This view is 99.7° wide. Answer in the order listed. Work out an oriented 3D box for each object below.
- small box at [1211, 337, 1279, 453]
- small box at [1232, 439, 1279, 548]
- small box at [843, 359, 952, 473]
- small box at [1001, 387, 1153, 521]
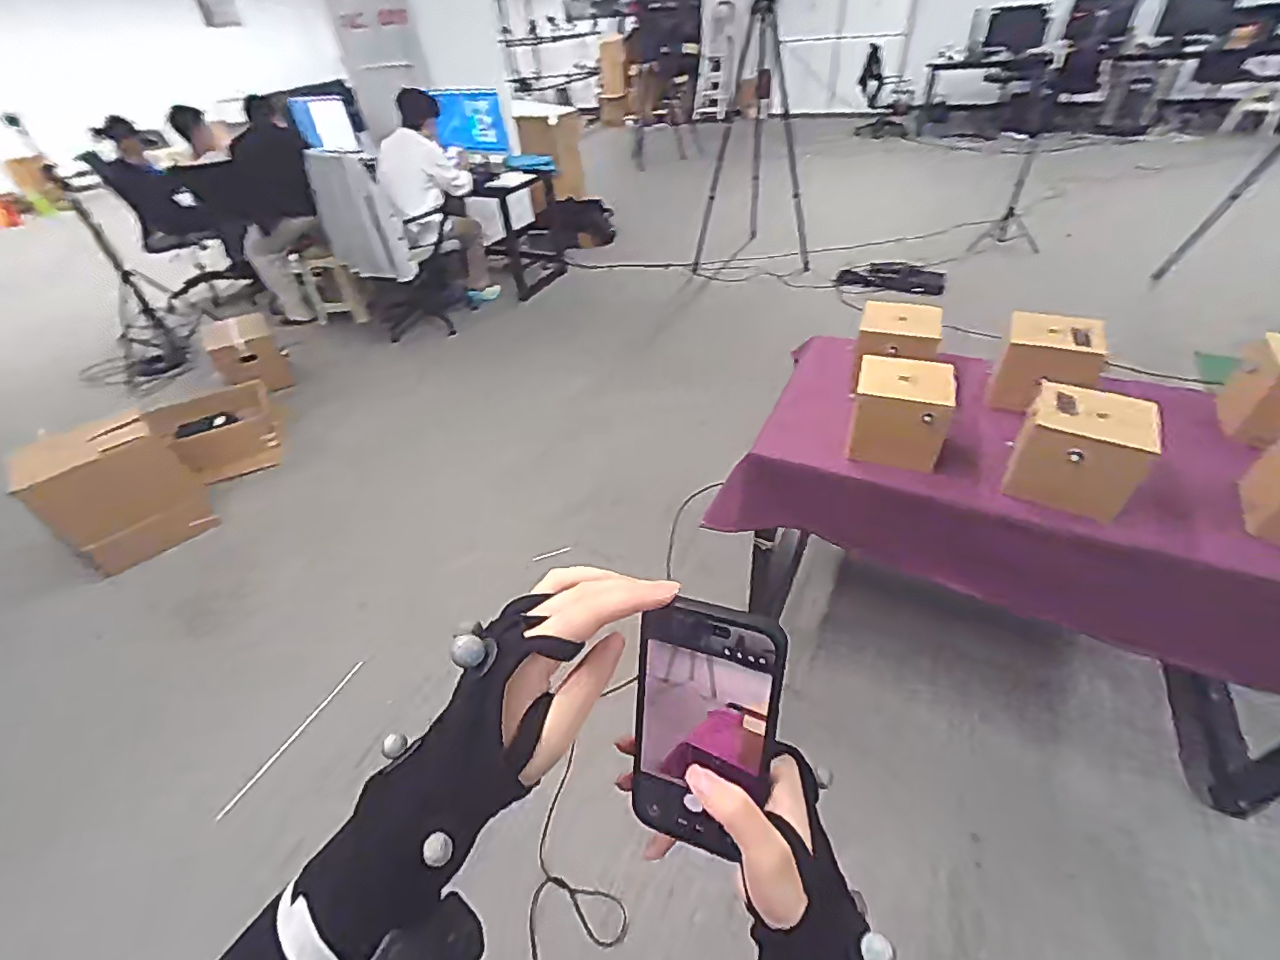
[{"bbox_3d":[1.313,-0.163,1.092,0.168,0.176,0.179,18,47,26],"label":"small box"},{"bbox_3d":[1.155,0.023,0.895,0.179,0.176,0.168,22,47,28],"label":"small box"},{"bbox_3d":[0.542,-0.136,1.151,0.179,0.176,0.168,12,43,18],"label":"small box"},{"bbox_3d":[0.812,-0.049,1.018,0.179,0.176,0.168,21,47,27],"label":"small box"}]
